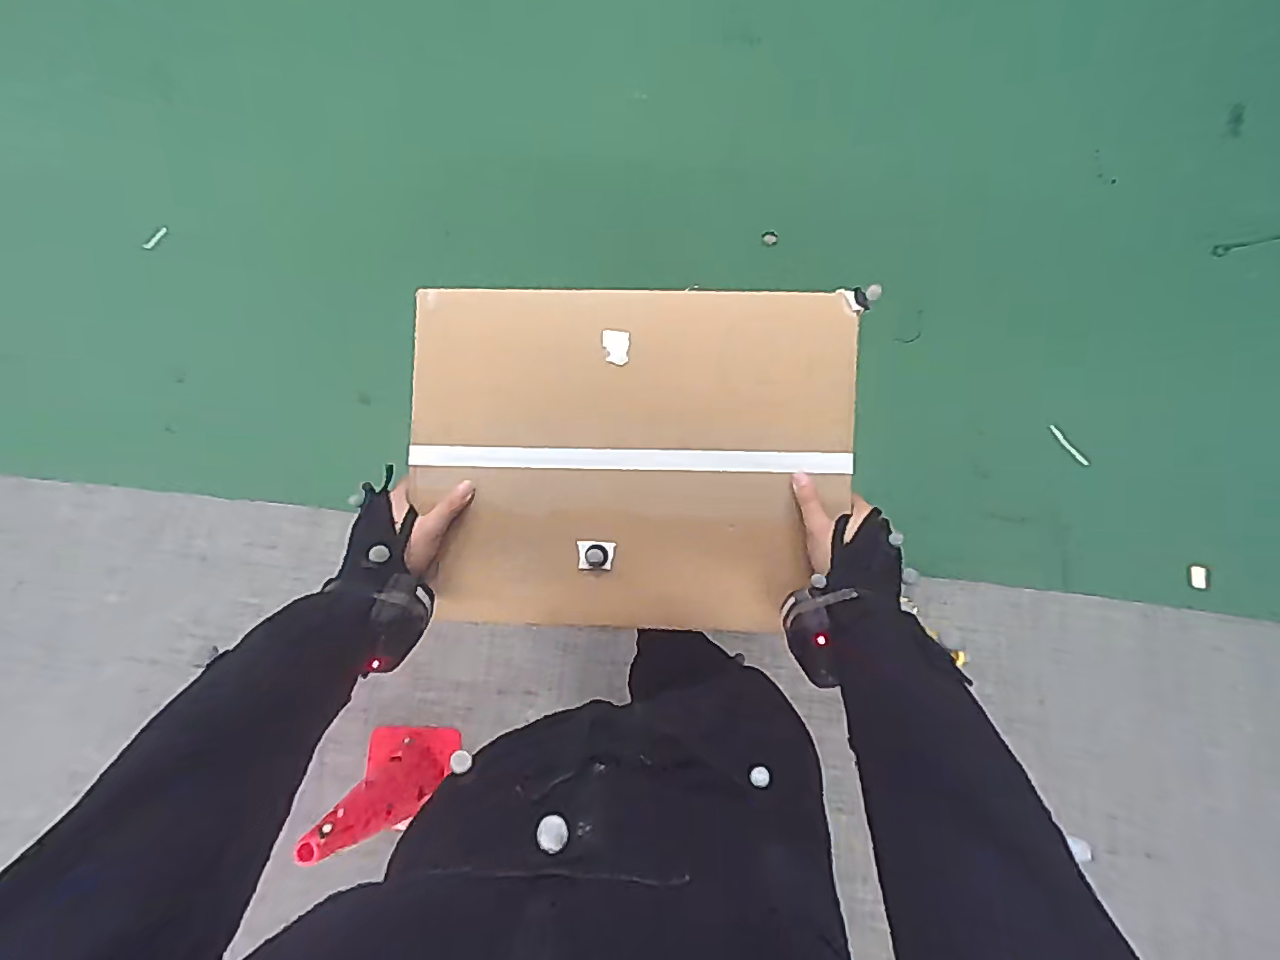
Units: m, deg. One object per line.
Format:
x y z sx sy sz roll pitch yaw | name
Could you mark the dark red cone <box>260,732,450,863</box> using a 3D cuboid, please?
-0.504 0.580 0.951 0.202 0.394 0.201 -1 74 3 | dark red cone
